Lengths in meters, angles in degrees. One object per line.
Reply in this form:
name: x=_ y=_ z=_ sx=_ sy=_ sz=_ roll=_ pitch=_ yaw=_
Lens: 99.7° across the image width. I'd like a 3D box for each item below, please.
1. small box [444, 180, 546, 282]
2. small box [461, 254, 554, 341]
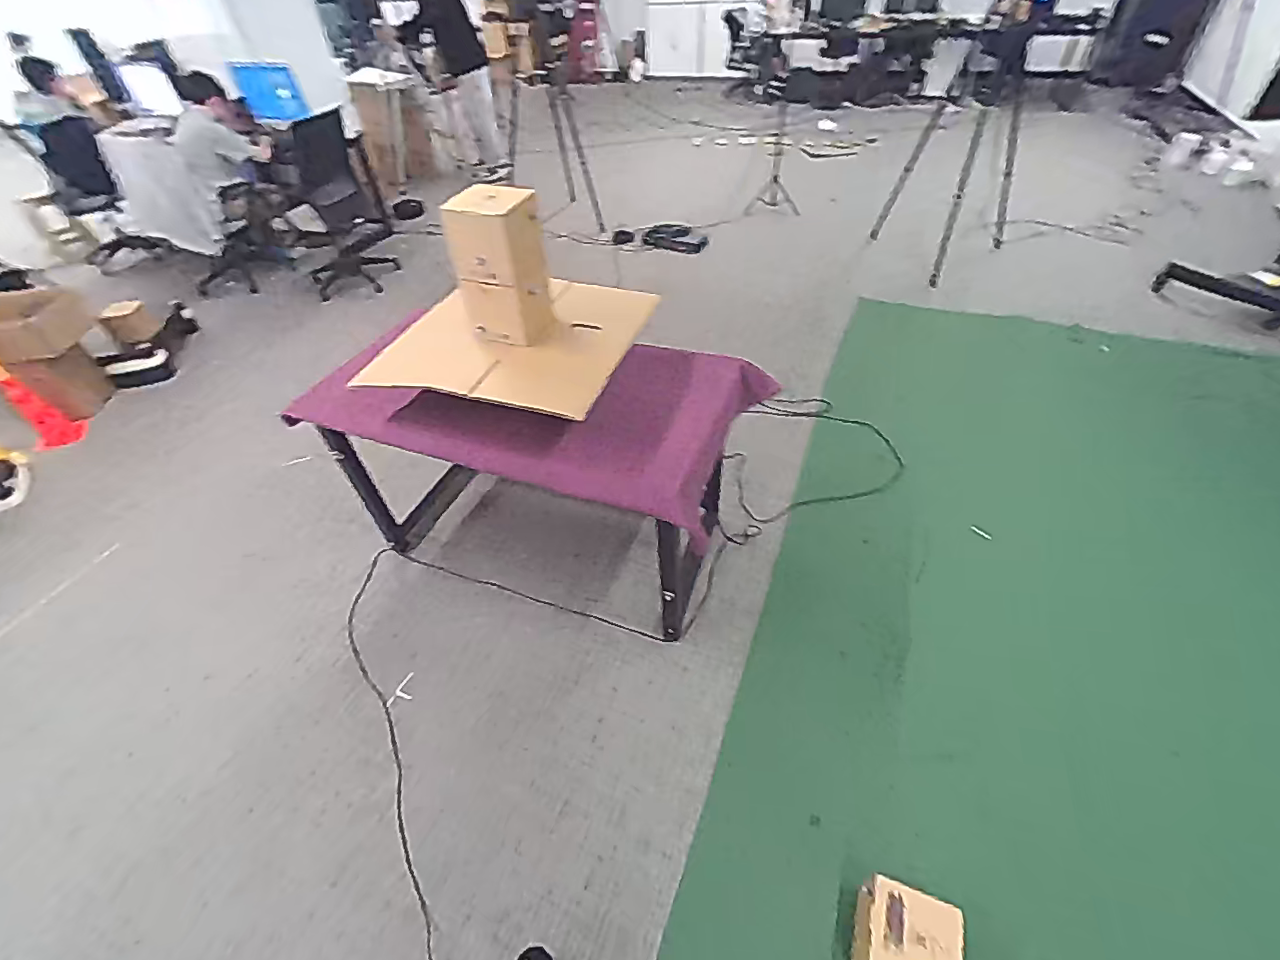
small box: x=-0.342 y=-0.607 z=1.318 sx=0.168 sy=0.176 sz=0.179 roll=13 pitch=48 yaw=14
small box: x=-0.340 y=-0.491 z=1.434 sx=0.168 sy=0.176 sz=0.179 roll=14 pitch=47 yaw=14
